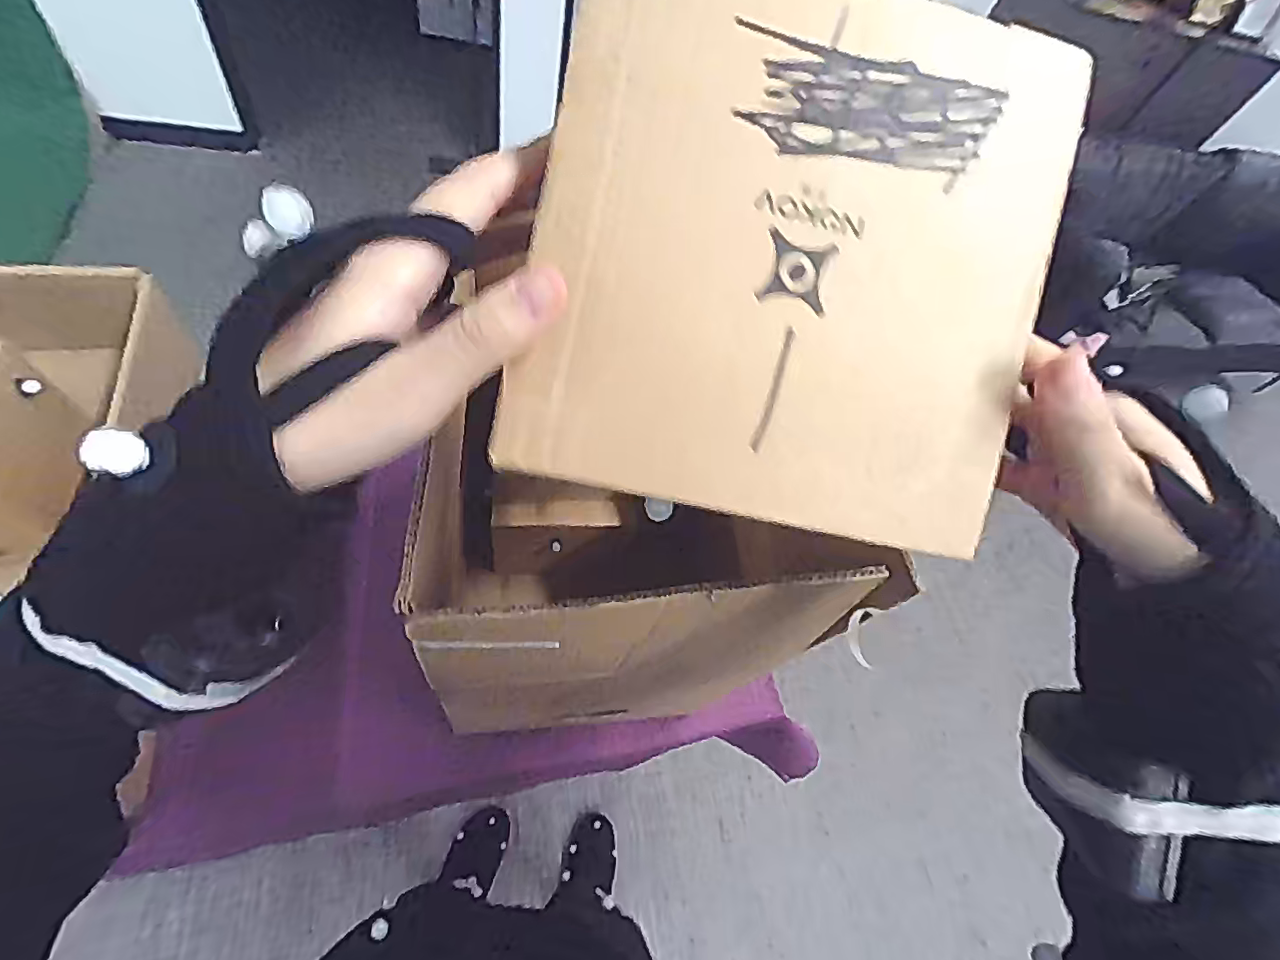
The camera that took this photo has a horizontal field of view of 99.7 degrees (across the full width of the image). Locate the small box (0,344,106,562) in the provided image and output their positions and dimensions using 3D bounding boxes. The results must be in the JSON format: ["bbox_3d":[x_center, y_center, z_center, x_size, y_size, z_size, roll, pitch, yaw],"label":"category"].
[{"bbox_3d":[-0.717,-0.015,0.565,0.168,0.176,0.179,-9,62,-18],"label":"small box"}]

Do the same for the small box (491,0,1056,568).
[{"bbox_3d":[0.039,-0.073,0.257,0.168,0.176,0.179,12,91,-7],"label":"small box"}]
